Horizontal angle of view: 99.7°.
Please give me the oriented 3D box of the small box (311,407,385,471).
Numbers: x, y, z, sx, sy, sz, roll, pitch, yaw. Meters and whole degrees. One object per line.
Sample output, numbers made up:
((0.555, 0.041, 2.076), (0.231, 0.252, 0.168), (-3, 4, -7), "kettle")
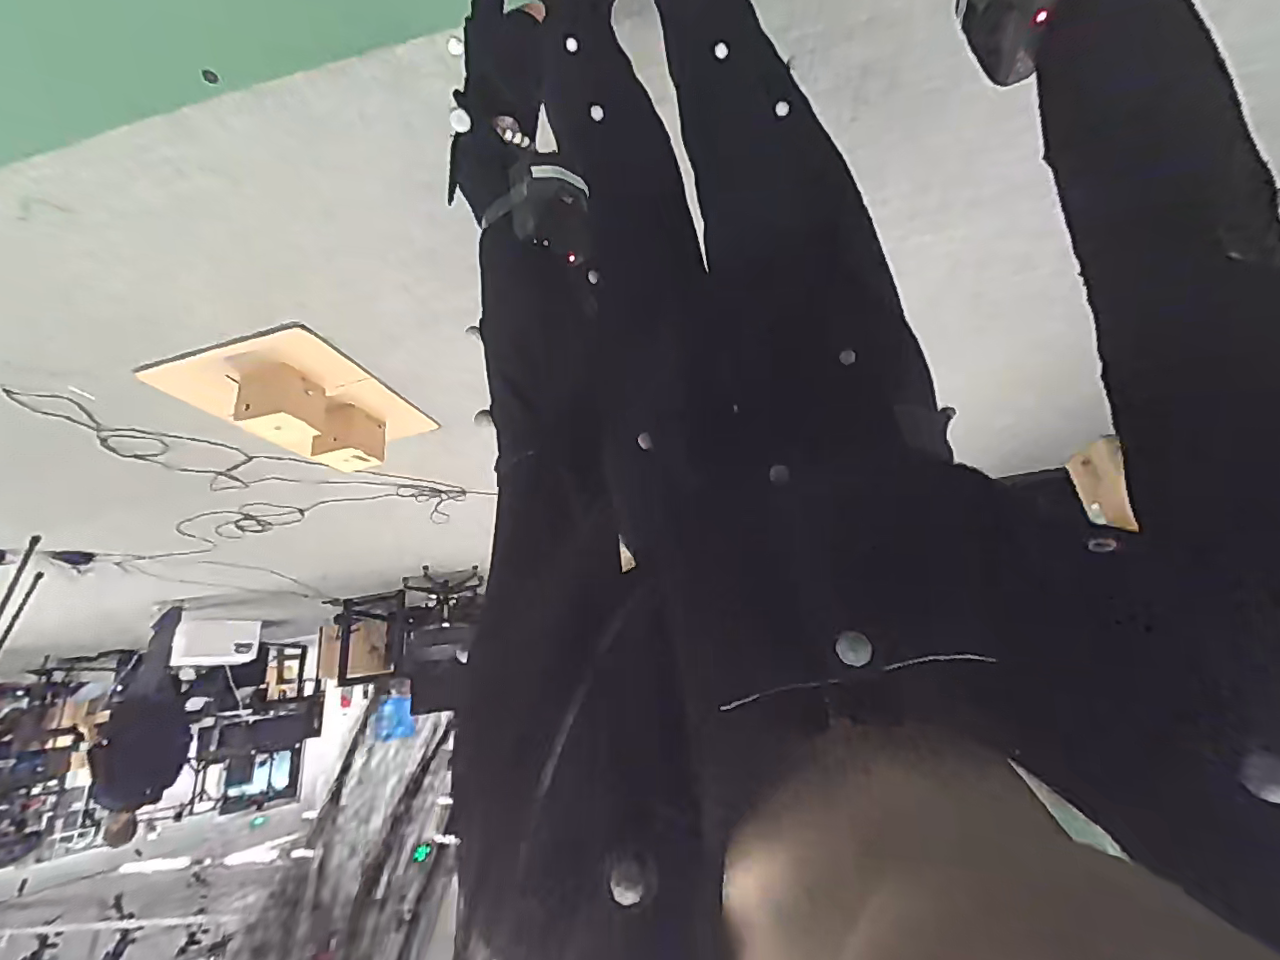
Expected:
((-1.060, -0.151, 1.971), (0.179, 0.176, 0.168), (-12, 159, 12), "small box")

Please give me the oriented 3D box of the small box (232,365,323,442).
((-1.142, -0.242, 1.719), (0.179, 0.176, 0.168), (-10, 160, 6), "small box")
